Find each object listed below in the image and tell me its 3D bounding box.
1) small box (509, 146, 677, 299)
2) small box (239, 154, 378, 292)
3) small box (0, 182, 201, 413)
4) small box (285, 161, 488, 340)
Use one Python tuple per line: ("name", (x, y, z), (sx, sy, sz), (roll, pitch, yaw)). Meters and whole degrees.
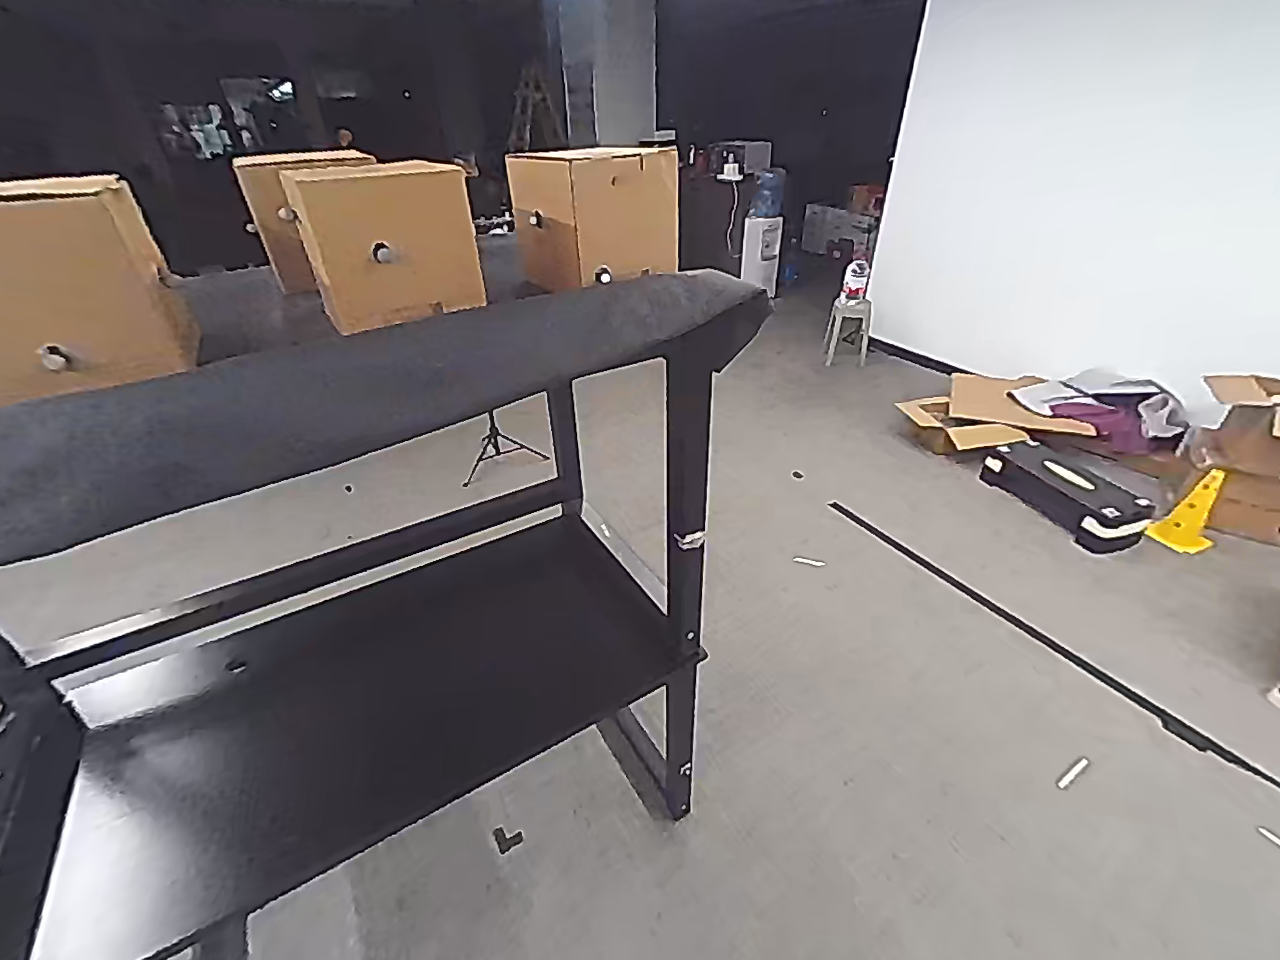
("small box", (-0.061, -0.364, 0.762), (0.168, 0.176, 0.179), (-24, 39, -28))
("small box", (-0.485, -0.402, 0.840), (0.179, 0.176, 0.168), (-20, 39, -24))
("small box", (-0.562, -0.182, 0.521), (0.179, 0.176, 0.168), (-20, 38, -26))
("small box", (-0.300, -0.280, 0.655), (0.168, 0.176, 0.179), (-21, 38, -26))
